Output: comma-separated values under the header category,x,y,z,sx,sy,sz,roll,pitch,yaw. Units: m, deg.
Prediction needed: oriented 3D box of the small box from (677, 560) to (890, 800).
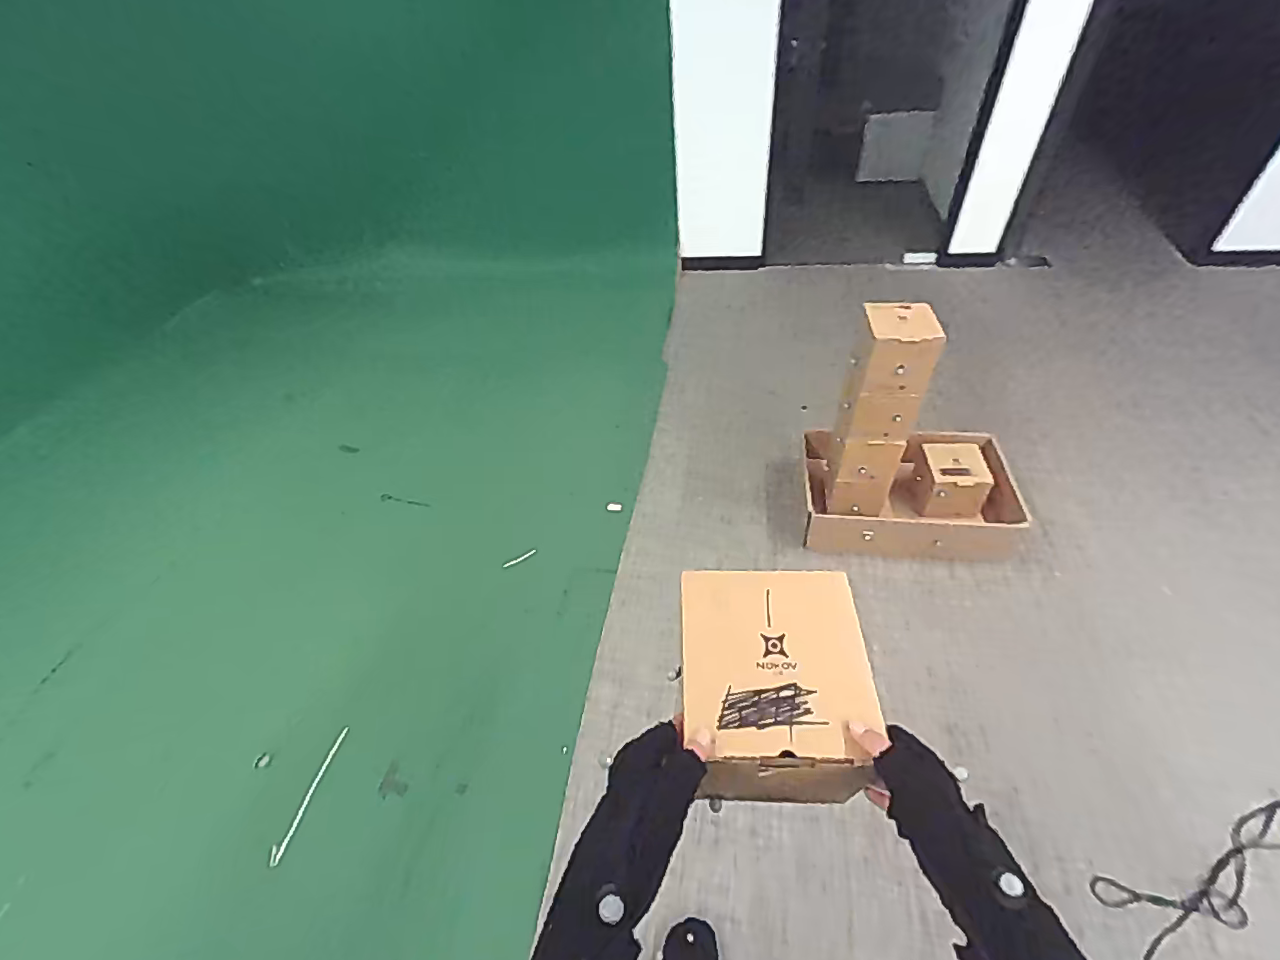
category,x,y,z,sx,sy,sz,roll,pitch,yaw
small box,0.126,0.203,0.539,0.168,0.176,0.179,5,50,4

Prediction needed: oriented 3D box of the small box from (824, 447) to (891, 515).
category,x,y,z,sx,sy,sz,roll,pitch,yaw
small box,0.699,-0.009,1.759,0.168,0.176,0.179,4,47,10

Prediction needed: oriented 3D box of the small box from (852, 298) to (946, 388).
category,x,y,z,sx,sy,sz,roll,pitch,yaw
small box,0.666,-0.355,1.414,0.168,0.176,0.179,3,48,6

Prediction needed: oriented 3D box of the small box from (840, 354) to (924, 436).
category,x,y,z,sx,sy,sz,roll,pitch,yaw
small box,0.676,-0.240,1.530,0.168,0.176,0.179,3,46,7

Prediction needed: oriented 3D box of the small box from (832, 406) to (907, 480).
category,x,y,z,sx,sy,sz,roll,pitch,yaw
small box,0.688,-0.123,1.643,0.168,0.176,0.179,3,47,9
